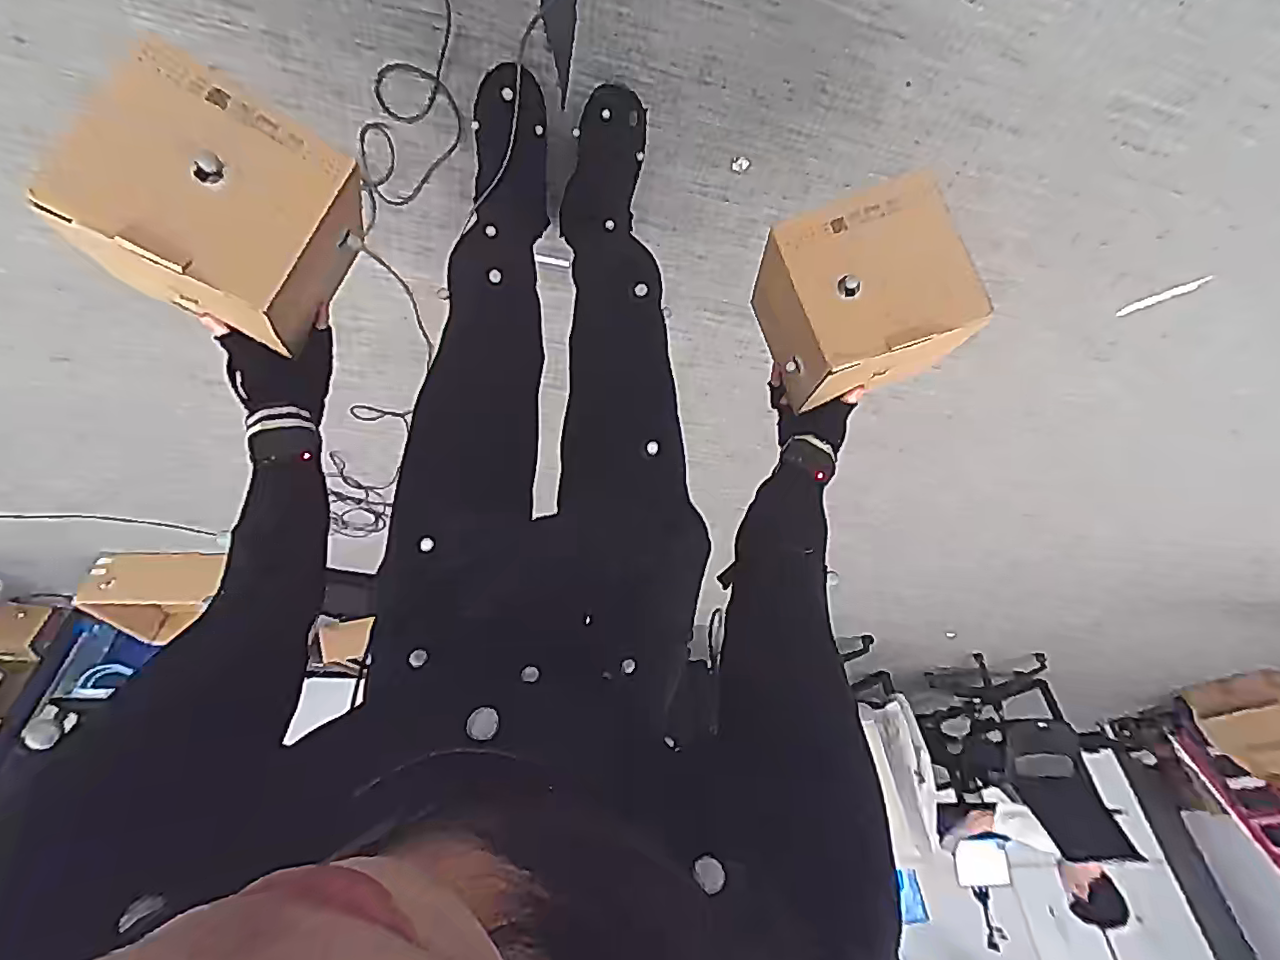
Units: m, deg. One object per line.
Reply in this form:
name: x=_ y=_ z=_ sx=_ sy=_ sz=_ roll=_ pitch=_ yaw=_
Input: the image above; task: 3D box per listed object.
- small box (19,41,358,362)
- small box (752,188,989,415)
small box: x=-0.387 y=-0.243 z=0.508 sx=0.168 sy=0.176 sz=0.179 roll=28 pitch=164 yaw=-22
small box: x=0.237 y=-0.196 z=0.610 sx=0.168 sy=0.176 sz=0.179 roll=-17 pitch=172 yaw=1
